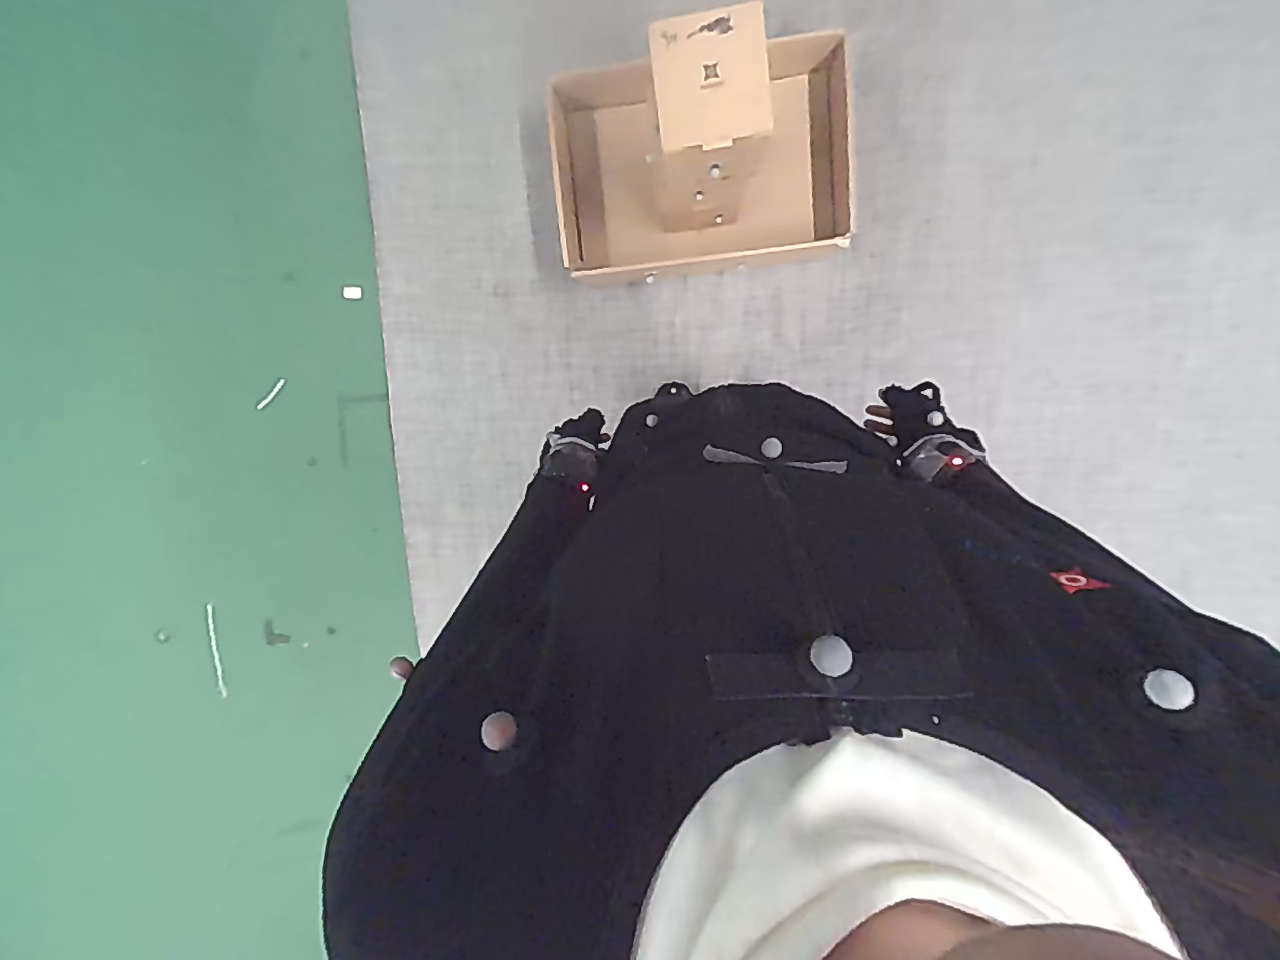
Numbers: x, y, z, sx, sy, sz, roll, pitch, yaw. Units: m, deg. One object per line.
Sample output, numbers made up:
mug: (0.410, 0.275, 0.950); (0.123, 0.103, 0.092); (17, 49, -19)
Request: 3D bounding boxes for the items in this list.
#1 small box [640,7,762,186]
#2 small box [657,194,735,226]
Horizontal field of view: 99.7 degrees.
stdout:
small box: (0.101, -0.604, 0.883); (0.168, 0.176, 0.179); (-8, 99, 7)
small box: (0.116, -0.672, 1.184); (0.168, 0.176, 0.179); (-5, 99, 5)
